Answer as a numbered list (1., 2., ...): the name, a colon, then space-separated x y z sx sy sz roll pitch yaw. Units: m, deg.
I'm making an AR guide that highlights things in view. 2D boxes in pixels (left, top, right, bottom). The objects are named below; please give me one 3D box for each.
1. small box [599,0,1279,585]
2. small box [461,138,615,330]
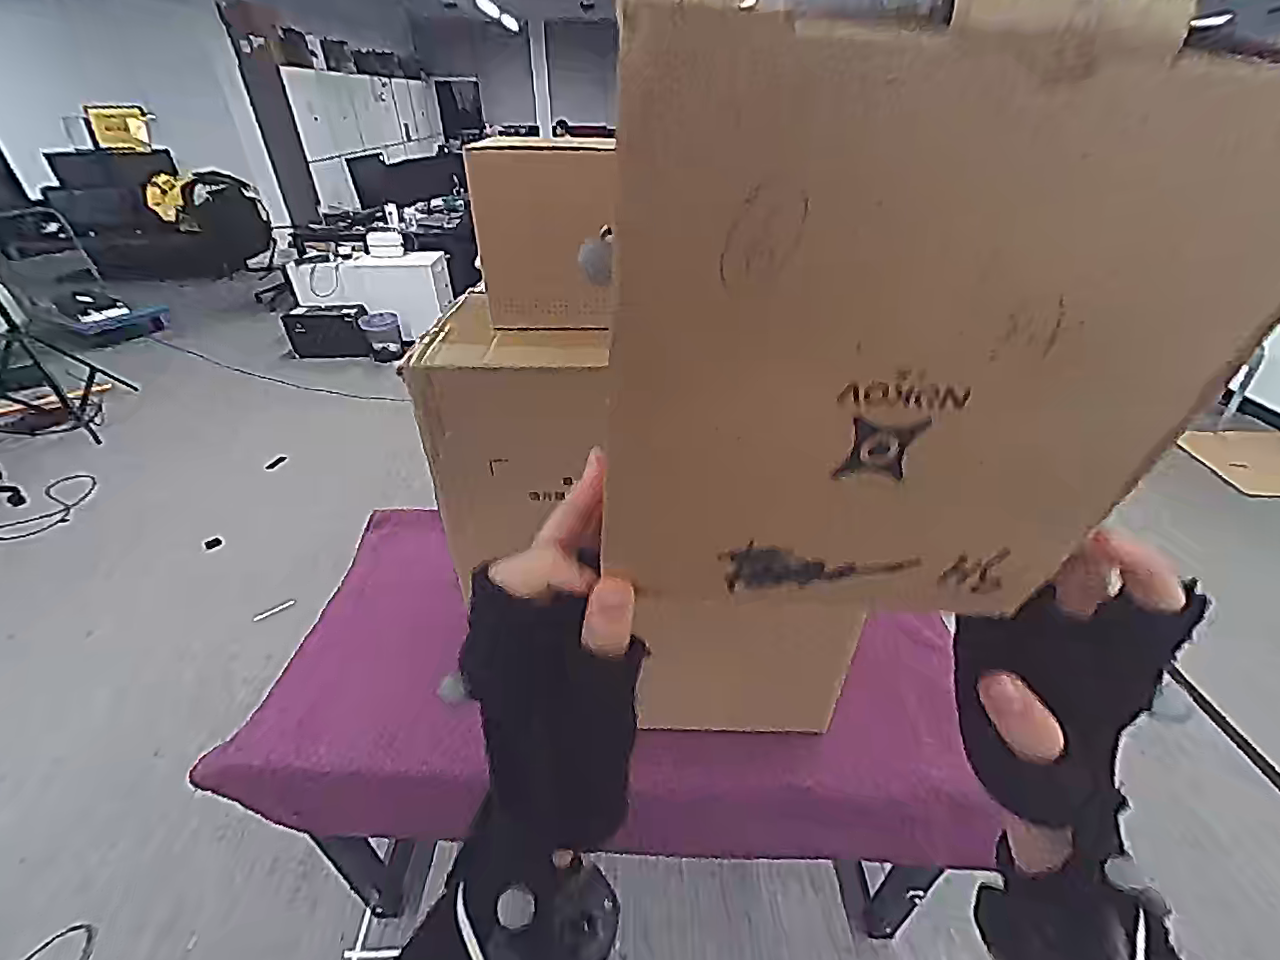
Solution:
1. small box: 0.070 -0.080 0.216 0.168 0.179 0.176 3 40 -3
2. small box: -0.077 -0.271 0.595 0.179 0.176 0.168 -1 34 -2
